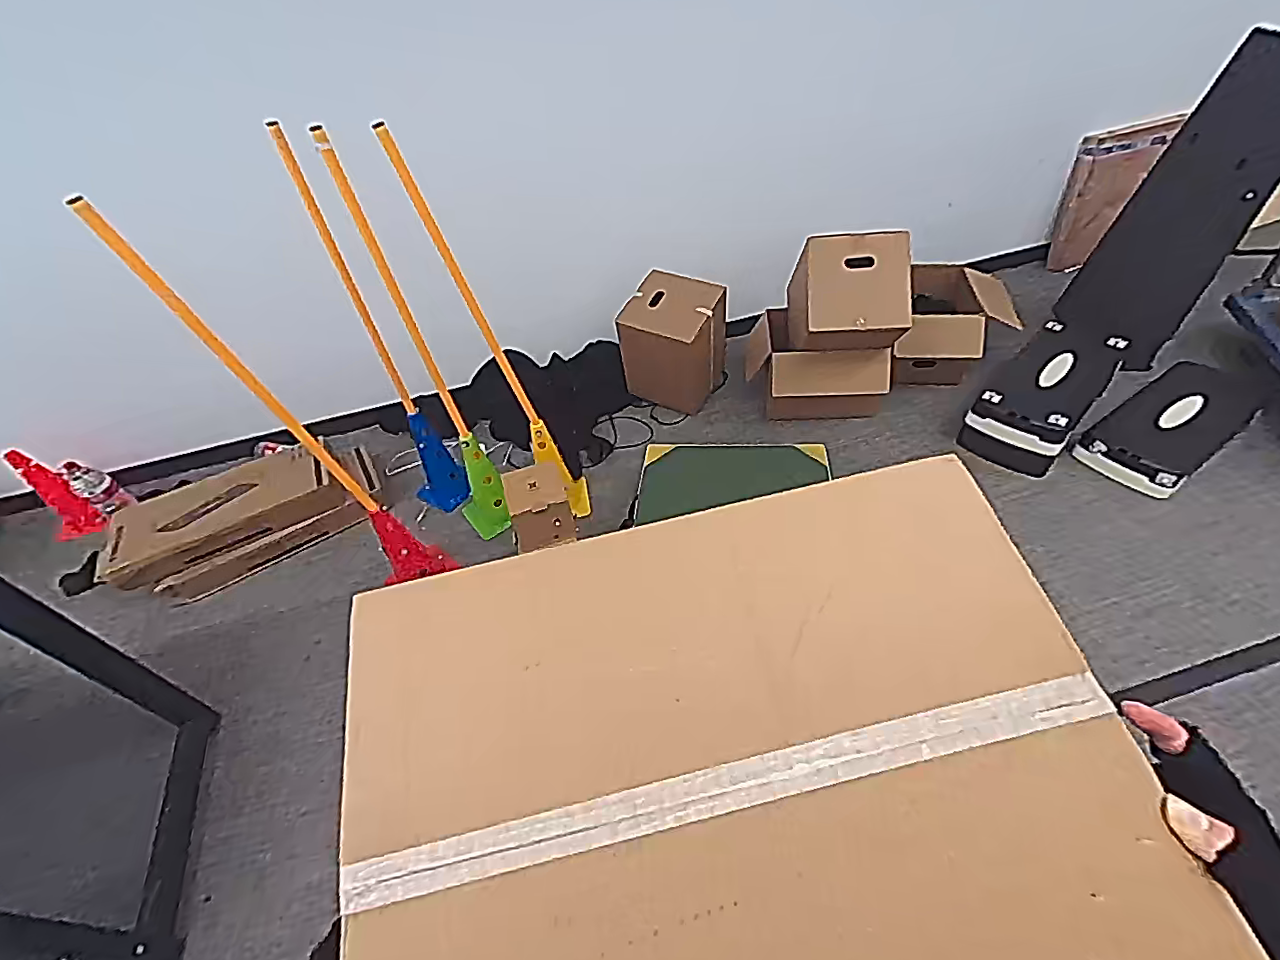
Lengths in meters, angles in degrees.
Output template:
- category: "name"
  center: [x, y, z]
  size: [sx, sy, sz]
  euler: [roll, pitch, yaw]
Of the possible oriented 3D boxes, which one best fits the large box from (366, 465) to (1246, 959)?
- category: "large box"
  center: [0.062, 0.237, 0.418]
  size: [0.408, 0.320, 0.320]
  euler: [-14, 61, -2]
